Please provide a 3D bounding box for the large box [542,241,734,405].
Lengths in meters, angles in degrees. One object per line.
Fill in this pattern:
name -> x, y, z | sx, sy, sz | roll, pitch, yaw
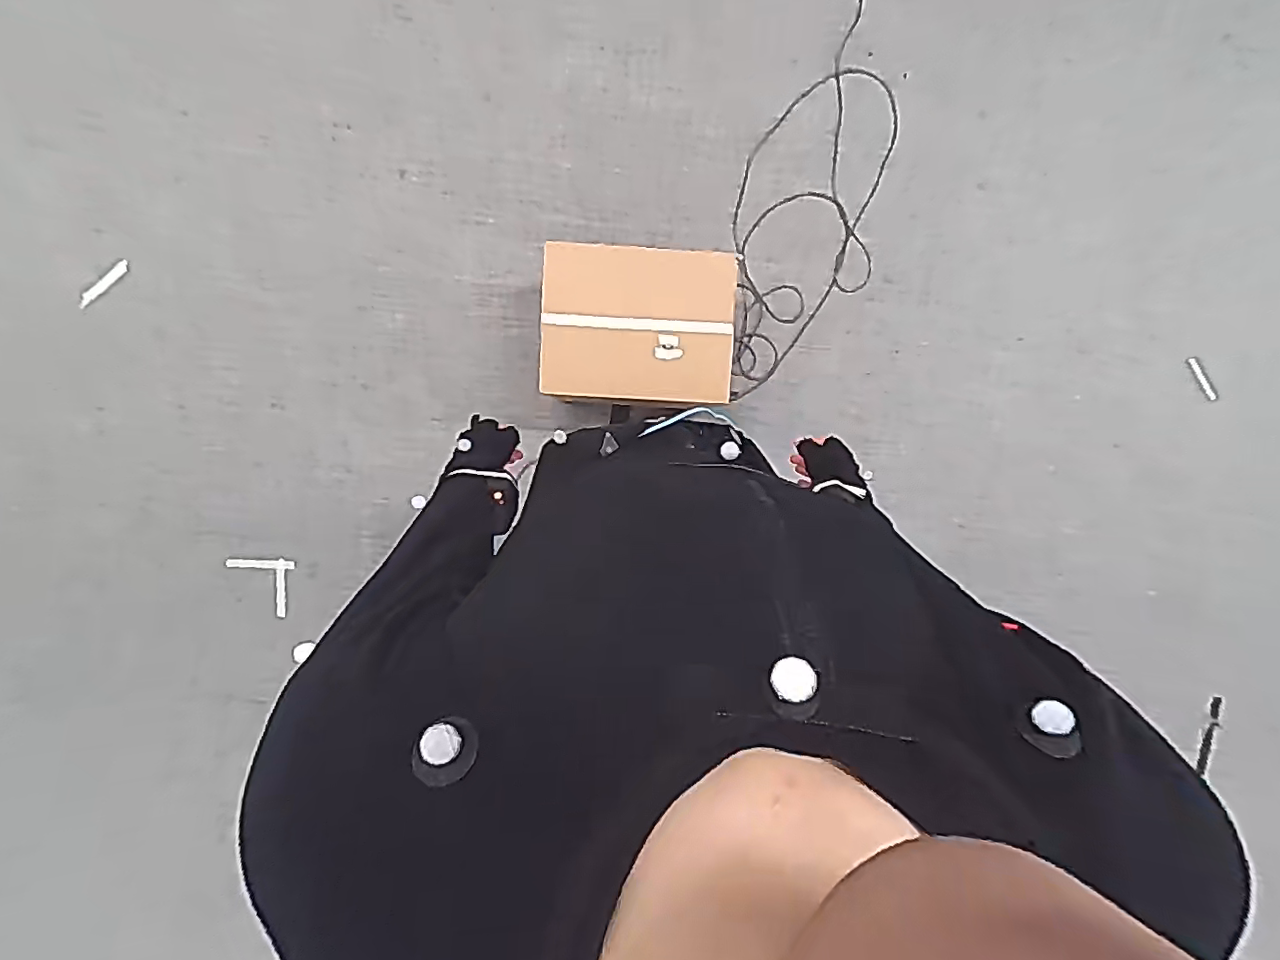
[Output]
large box -> -0.014, -0.349, 1.291 | 0.408, 0.320, 0.320 | 3, 96, -3
